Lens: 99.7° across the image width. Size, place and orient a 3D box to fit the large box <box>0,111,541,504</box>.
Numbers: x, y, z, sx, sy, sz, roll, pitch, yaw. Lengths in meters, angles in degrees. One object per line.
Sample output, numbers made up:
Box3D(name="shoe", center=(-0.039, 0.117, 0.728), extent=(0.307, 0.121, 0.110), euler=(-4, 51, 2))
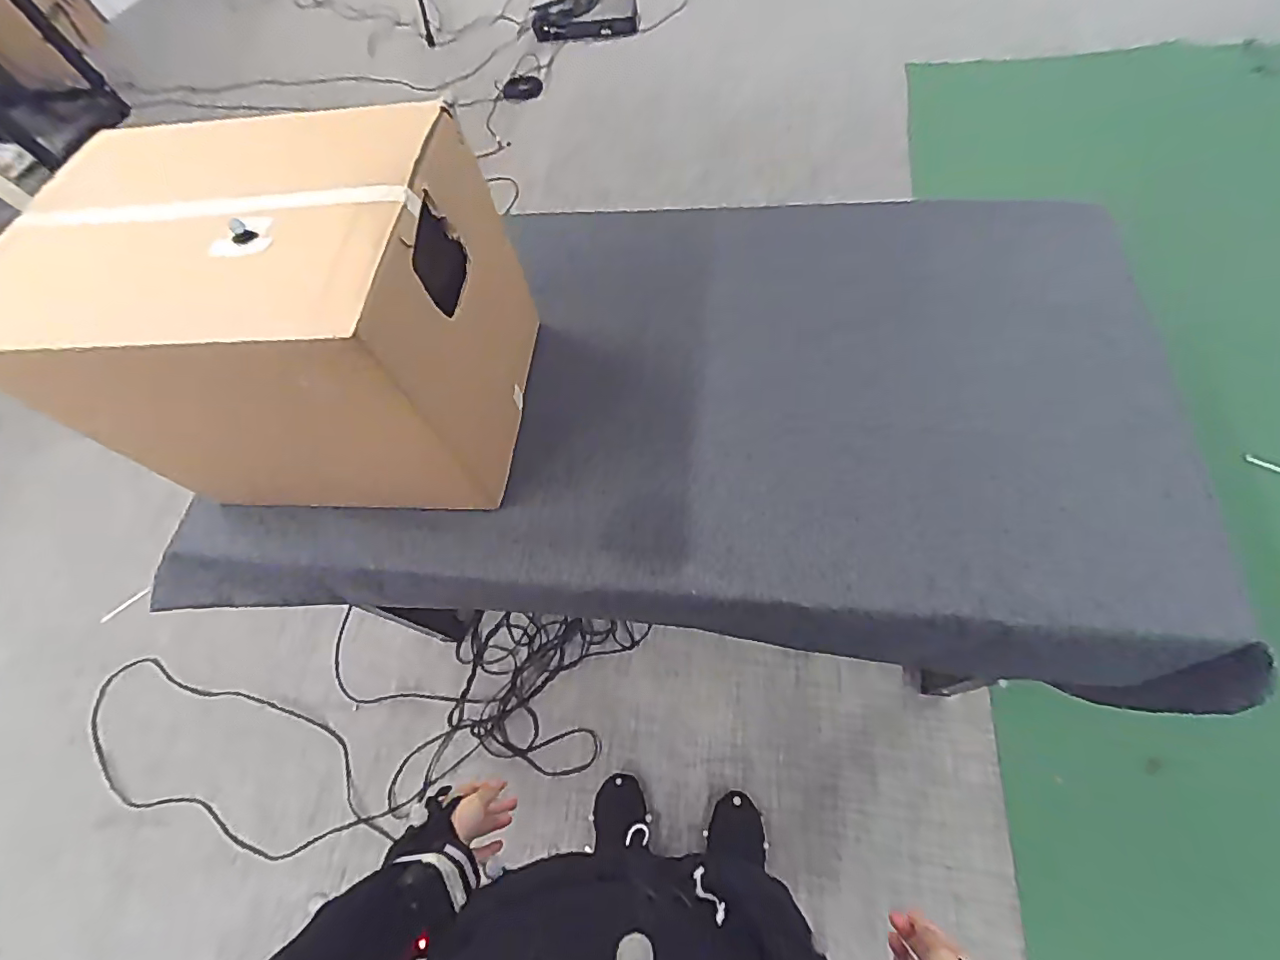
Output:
Box3D(name="large box", center=(-0.367, -0.173, 0.633), extent=(0.408, 0.320, 0.320), euler=(1, 63, 7))
